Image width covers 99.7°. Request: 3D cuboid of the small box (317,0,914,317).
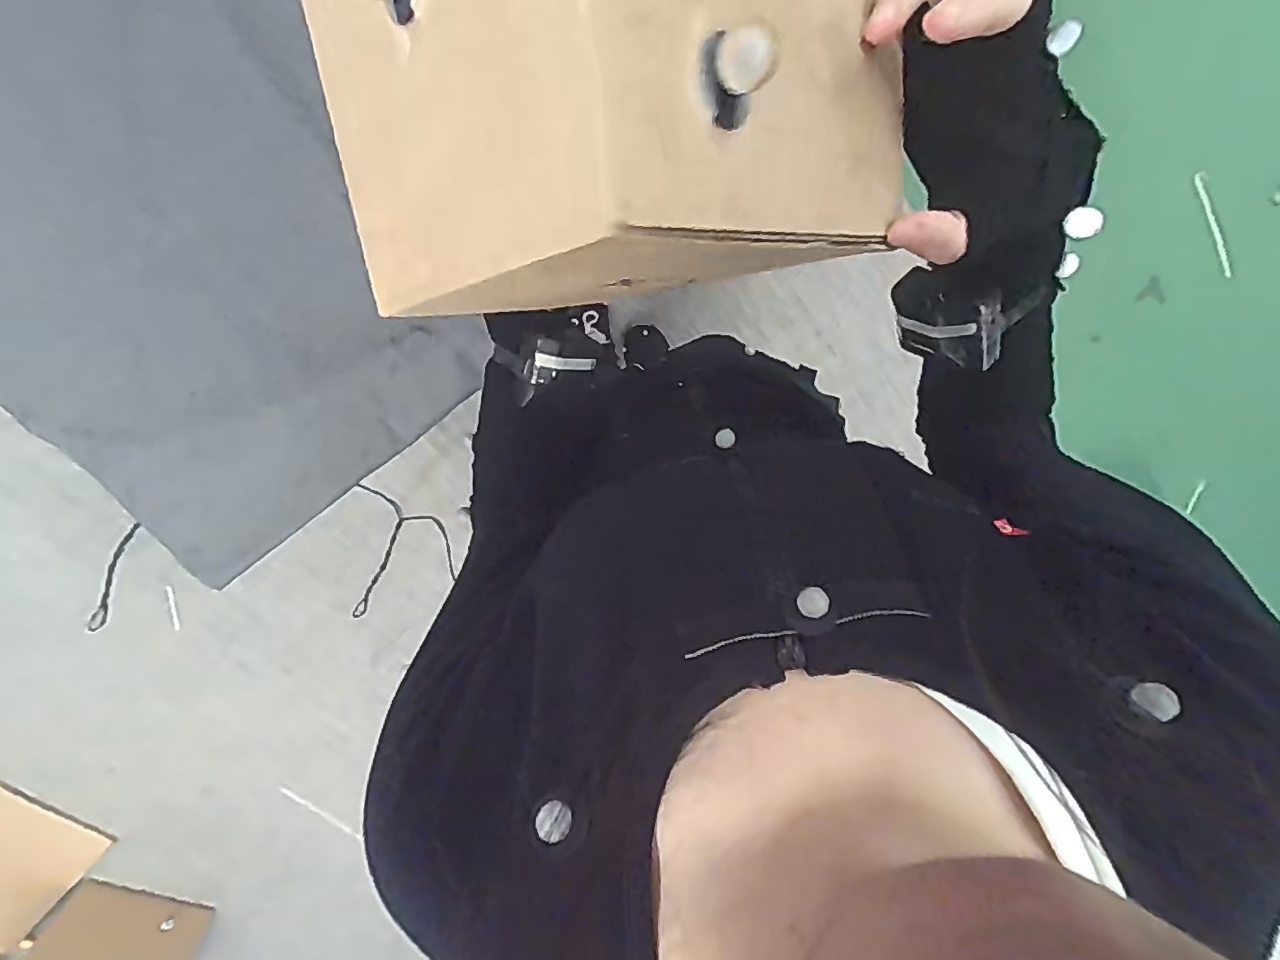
[{"bbox_3d":[-0.008,-0.169,0.216,0.179,0.168,0.176,-22,110,-42],"label":"small box"}]
